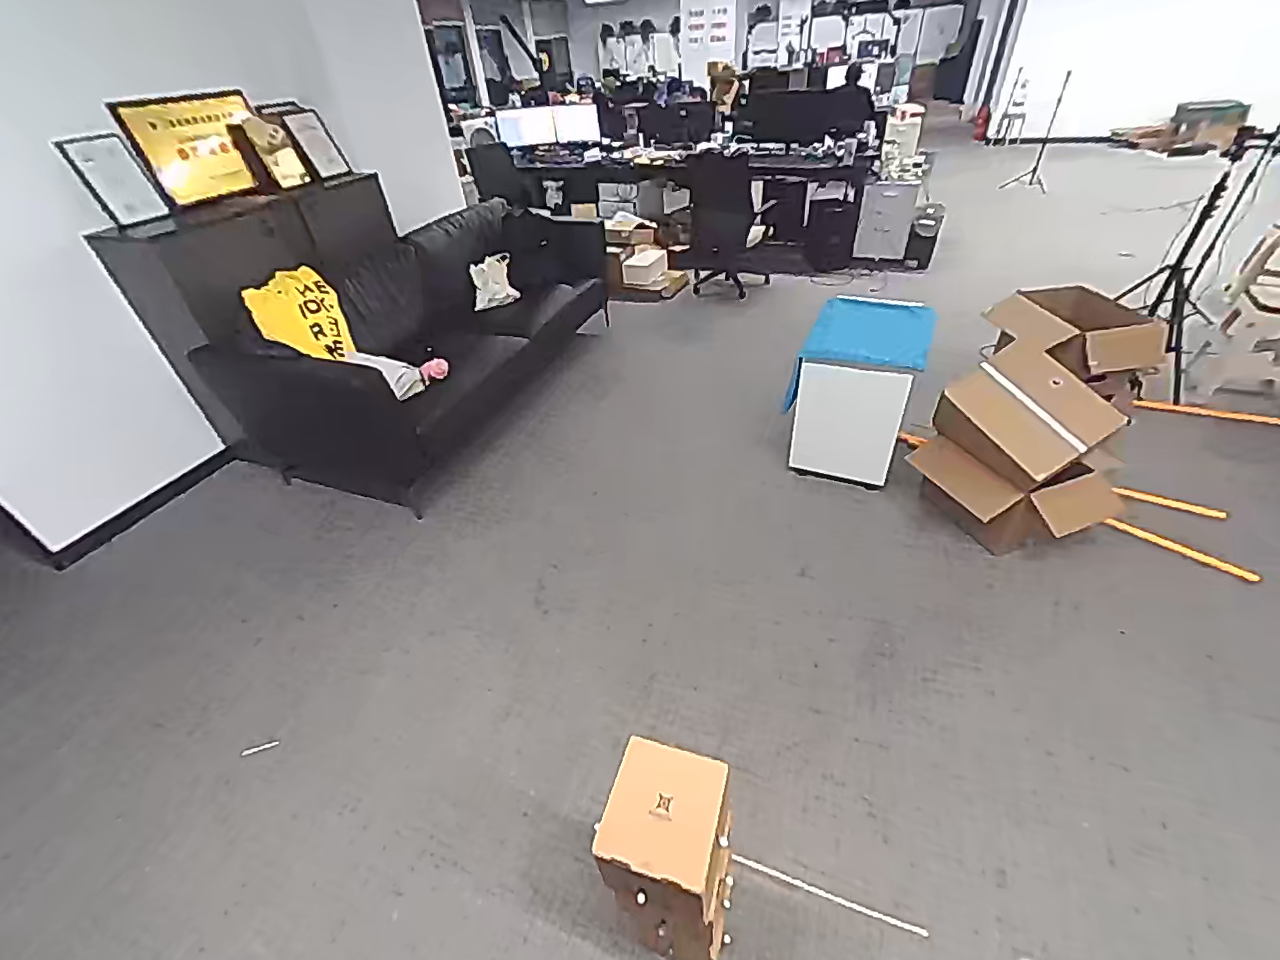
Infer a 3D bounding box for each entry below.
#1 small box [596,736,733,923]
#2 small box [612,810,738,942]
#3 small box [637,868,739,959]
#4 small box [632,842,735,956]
[{"bbox_3d":[0.046,0.544,0.848,0.168,0.176,0.179,8,42,18],"label":"small box"},{"bbox_3d":[0.068,0.671,0.949,0.179,0.176,0.168,9,41,18],"label":"small box"},{"bbox_3d":[0.106,0.920,1.158,0.179,0.176,0.168,10,41,19],"label":"small box"},{"bbox_3d":[0.083,0.789,1.062,0.179,0.176,0.168,10,42,19],"label":"small box"}]
